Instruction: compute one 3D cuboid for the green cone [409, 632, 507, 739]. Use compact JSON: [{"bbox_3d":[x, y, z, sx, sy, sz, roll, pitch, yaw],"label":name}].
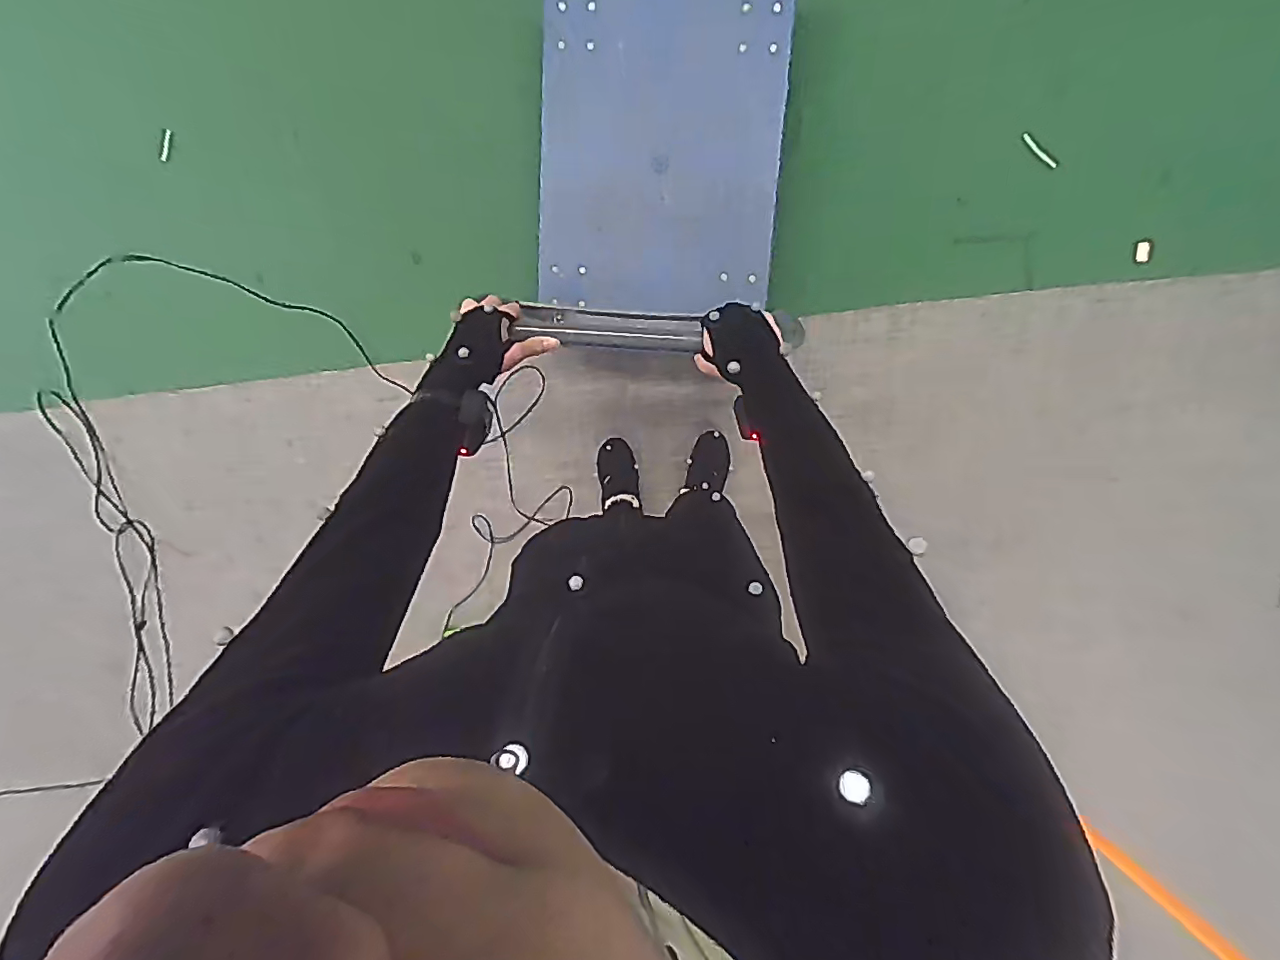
[{"bbox_3d":[-0.558,0.619,1.576,0.202,0.368,0.200,-8,99,8],"label":"green cone"}]
